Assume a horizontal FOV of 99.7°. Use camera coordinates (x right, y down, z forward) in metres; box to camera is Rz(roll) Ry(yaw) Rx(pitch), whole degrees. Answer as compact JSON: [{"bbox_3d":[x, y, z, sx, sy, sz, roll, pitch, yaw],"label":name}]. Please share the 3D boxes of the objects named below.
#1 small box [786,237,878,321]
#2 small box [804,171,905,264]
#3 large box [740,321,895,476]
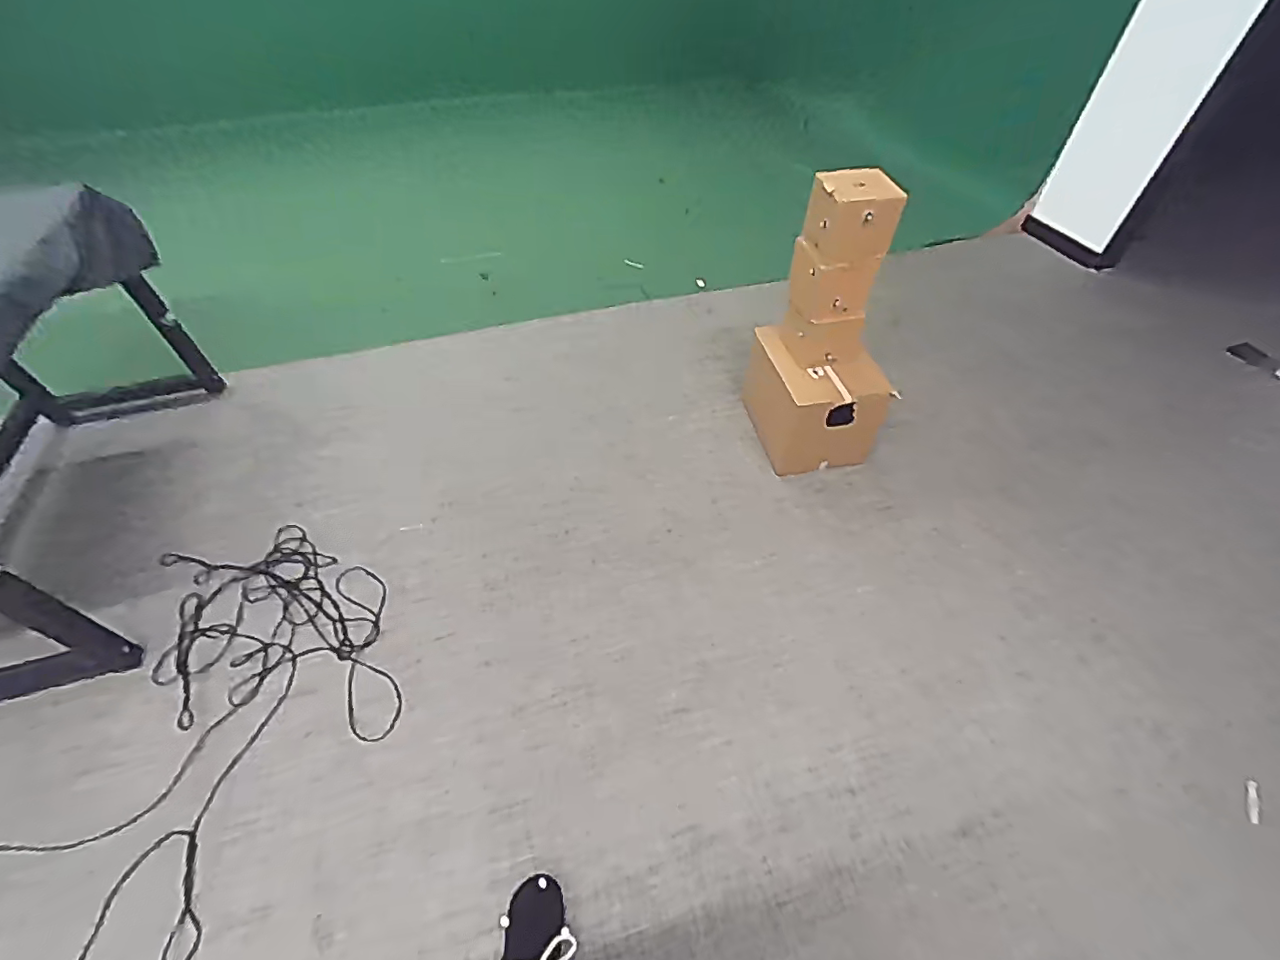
[{"bbox_3d":[0.535,-0.575,1.536,0.168,0.176,0.179,-10,51,-9],"label":"small box"},{"bbox_3d":[0.546,-0.682,1.413,0.179,0.176,0.168,-7,52,-8],"label":"small box"},{"bbox_3d":[0.564,-0.276,1.815,0.320,0.320,0.408,-10,51,-7],"label":"large box"}]
